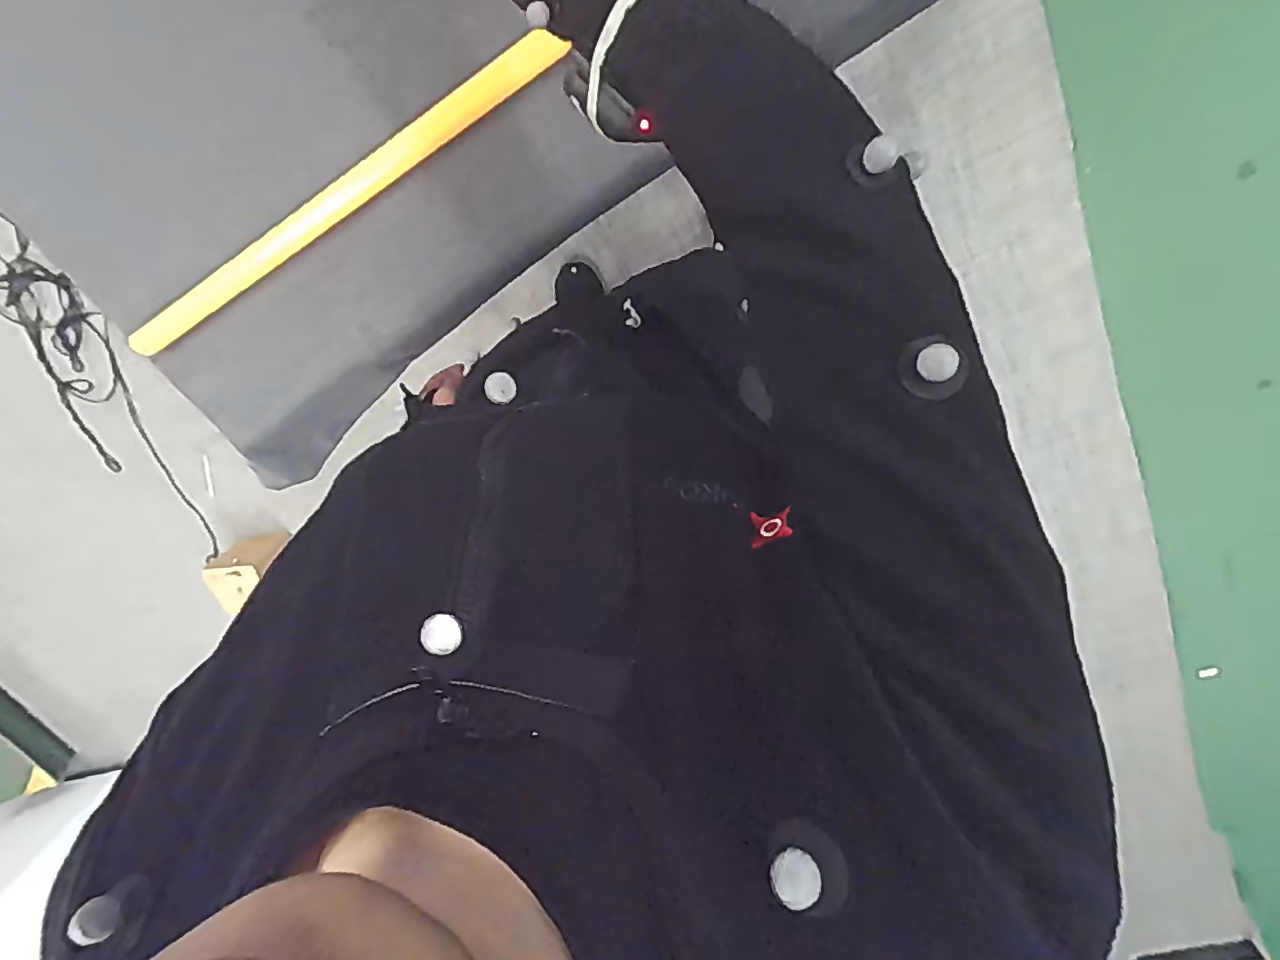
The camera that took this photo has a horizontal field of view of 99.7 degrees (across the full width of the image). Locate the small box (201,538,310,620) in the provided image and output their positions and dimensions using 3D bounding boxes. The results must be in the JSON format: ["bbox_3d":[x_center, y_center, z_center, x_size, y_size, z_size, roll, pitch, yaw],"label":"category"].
[{"bbox_3d":[-1.129,0.292,1.607,0.168,0.176,0.179,-6,117,8],"label":"small box"}]
